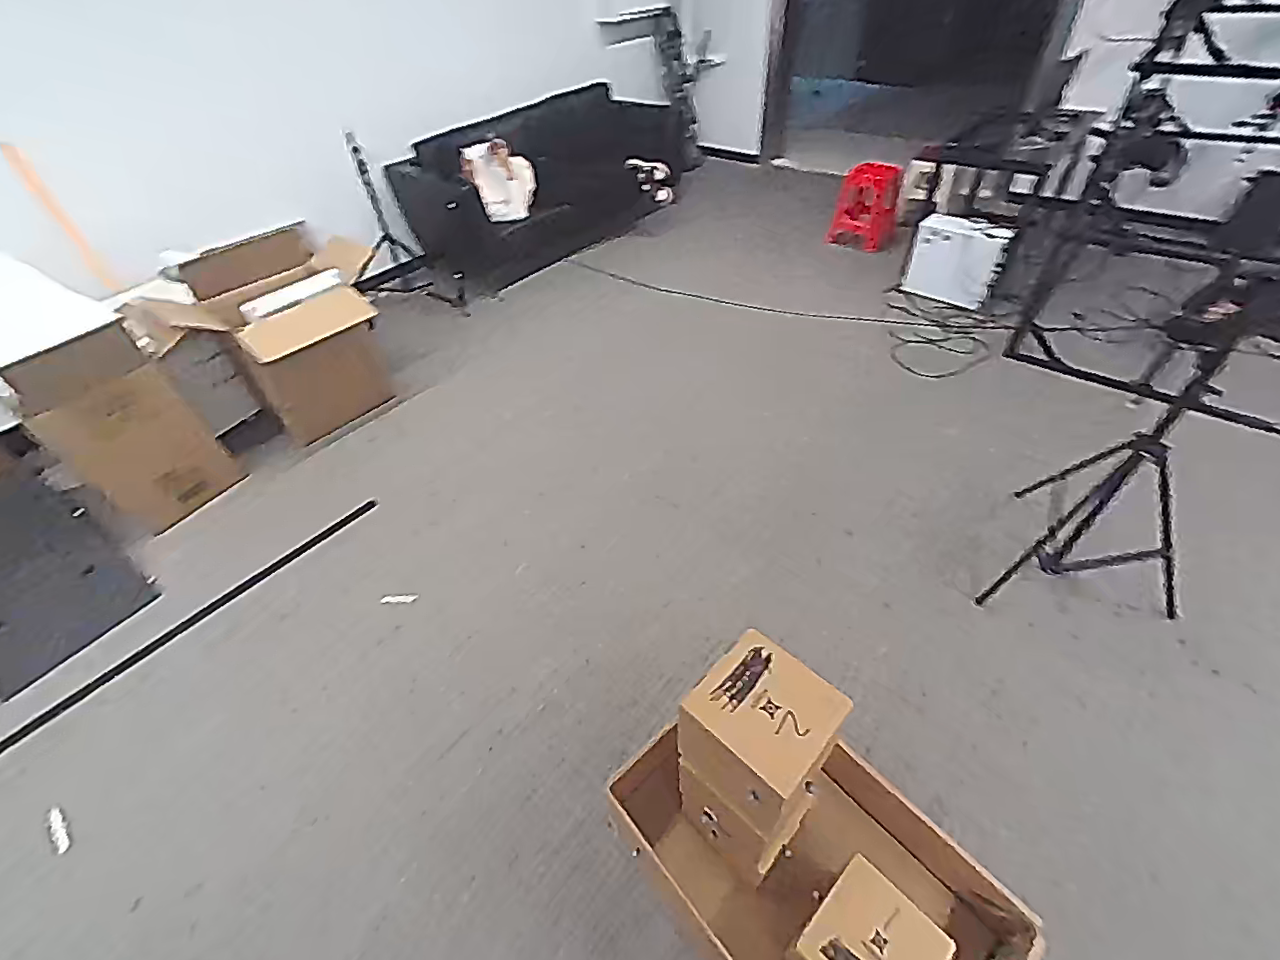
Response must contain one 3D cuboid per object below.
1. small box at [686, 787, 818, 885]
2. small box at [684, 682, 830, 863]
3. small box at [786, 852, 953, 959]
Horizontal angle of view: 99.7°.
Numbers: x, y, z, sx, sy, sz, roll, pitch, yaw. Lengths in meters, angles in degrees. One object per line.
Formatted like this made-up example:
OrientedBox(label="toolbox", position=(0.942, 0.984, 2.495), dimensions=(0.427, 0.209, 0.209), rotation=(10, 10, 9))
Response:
OrientedBox(label="small box", position=(0.197, 0.605, 1.004), dimensions=(0.168, 0.176, 0.179), rotation=(-35, 53, -28))
OrientedBox(label="small box", position=(0.184, 0.482, 0.896), dimensions=(0.168, 0.176, 0.179), rotation=(32, 54, 32))
OrientedBox(label="small box", position=(0.348, 0.744, 0.851), dimensions=(0.179, 0.176, 0.168), rotation=(-34, 52, -28))
